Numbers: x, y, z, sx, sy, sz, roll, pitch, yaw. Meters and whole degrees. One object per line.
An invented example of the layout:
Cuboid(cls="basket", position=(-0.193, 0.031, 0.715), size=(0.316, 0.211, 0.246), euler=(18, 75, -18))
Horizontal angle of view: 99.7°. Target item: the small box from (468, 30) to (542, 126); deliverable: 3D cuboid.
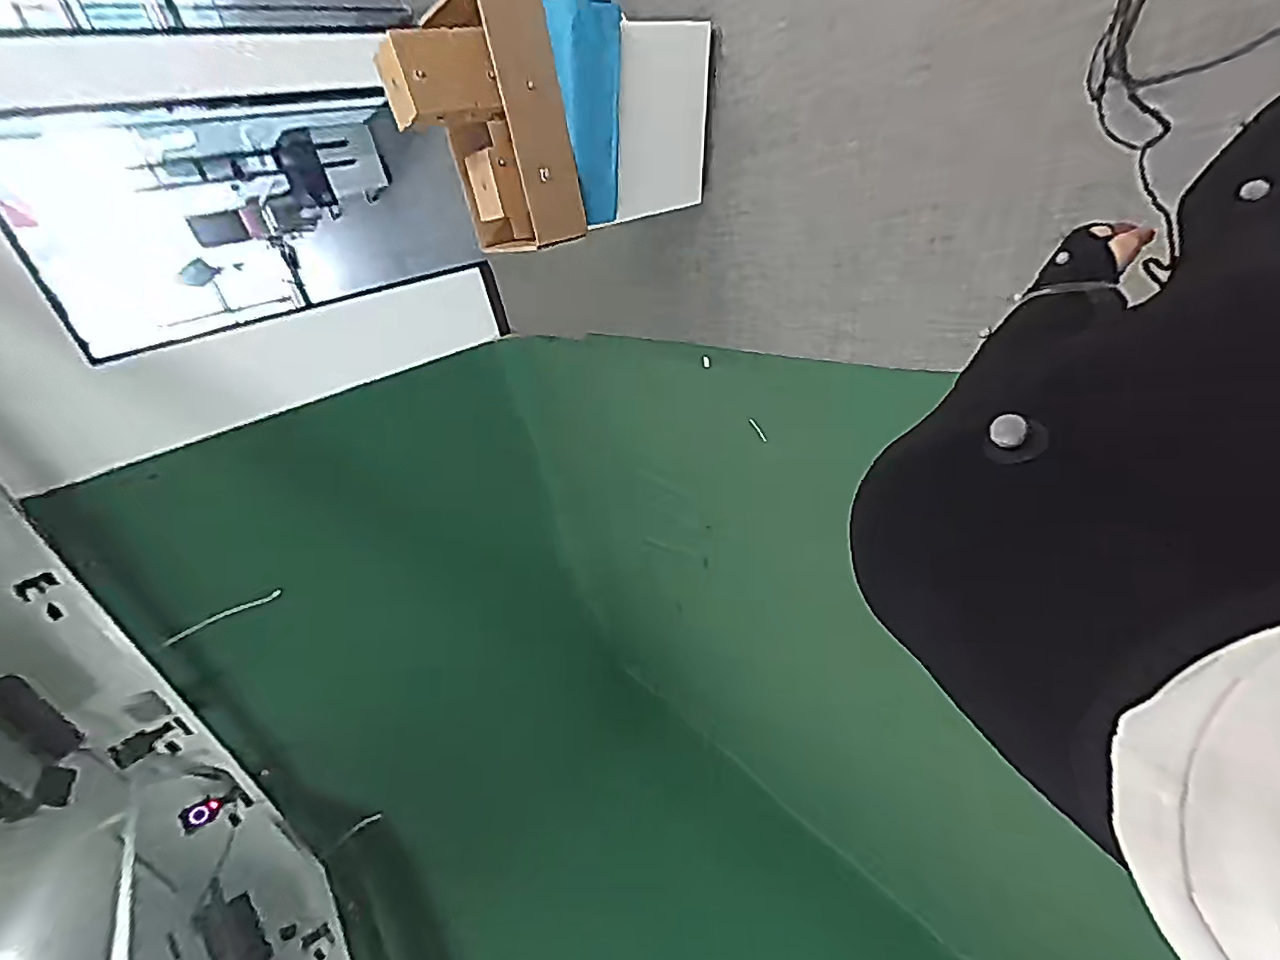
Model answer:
Cuboid(cls="small box", position=(-0.393, -1.114, 1.502), size=(0.168, 0.176, 0.179), euler=(23, 133, 50))

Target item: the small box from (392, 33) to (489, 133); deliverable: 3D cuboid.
Cuboid(cls="small box", position=(-0.521, -1.046, 1.427), size=(0.168, 0.176, 0.179), euler=(20, 131, 51))
